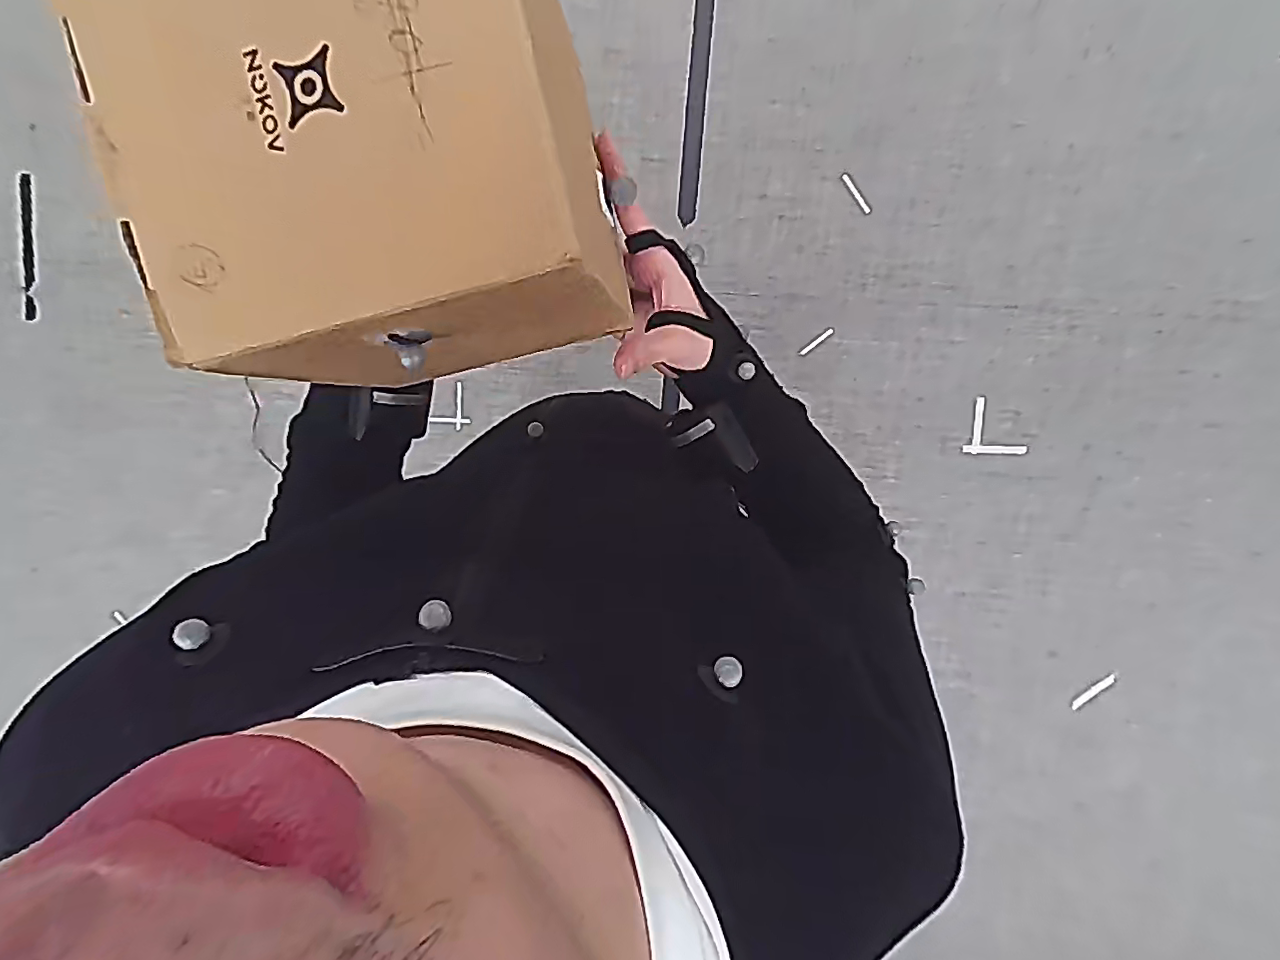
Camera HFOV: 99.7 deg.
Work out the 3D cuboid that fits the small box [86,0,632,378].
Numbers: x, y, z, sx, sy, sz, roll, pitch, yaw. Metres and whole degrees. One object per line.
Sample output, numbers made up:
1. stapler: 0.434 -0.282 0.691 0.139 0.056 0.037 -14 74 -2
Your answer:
1. small box: -0.113 -0.154 0.287 0.179 0.176 0.168 -12 96 8
